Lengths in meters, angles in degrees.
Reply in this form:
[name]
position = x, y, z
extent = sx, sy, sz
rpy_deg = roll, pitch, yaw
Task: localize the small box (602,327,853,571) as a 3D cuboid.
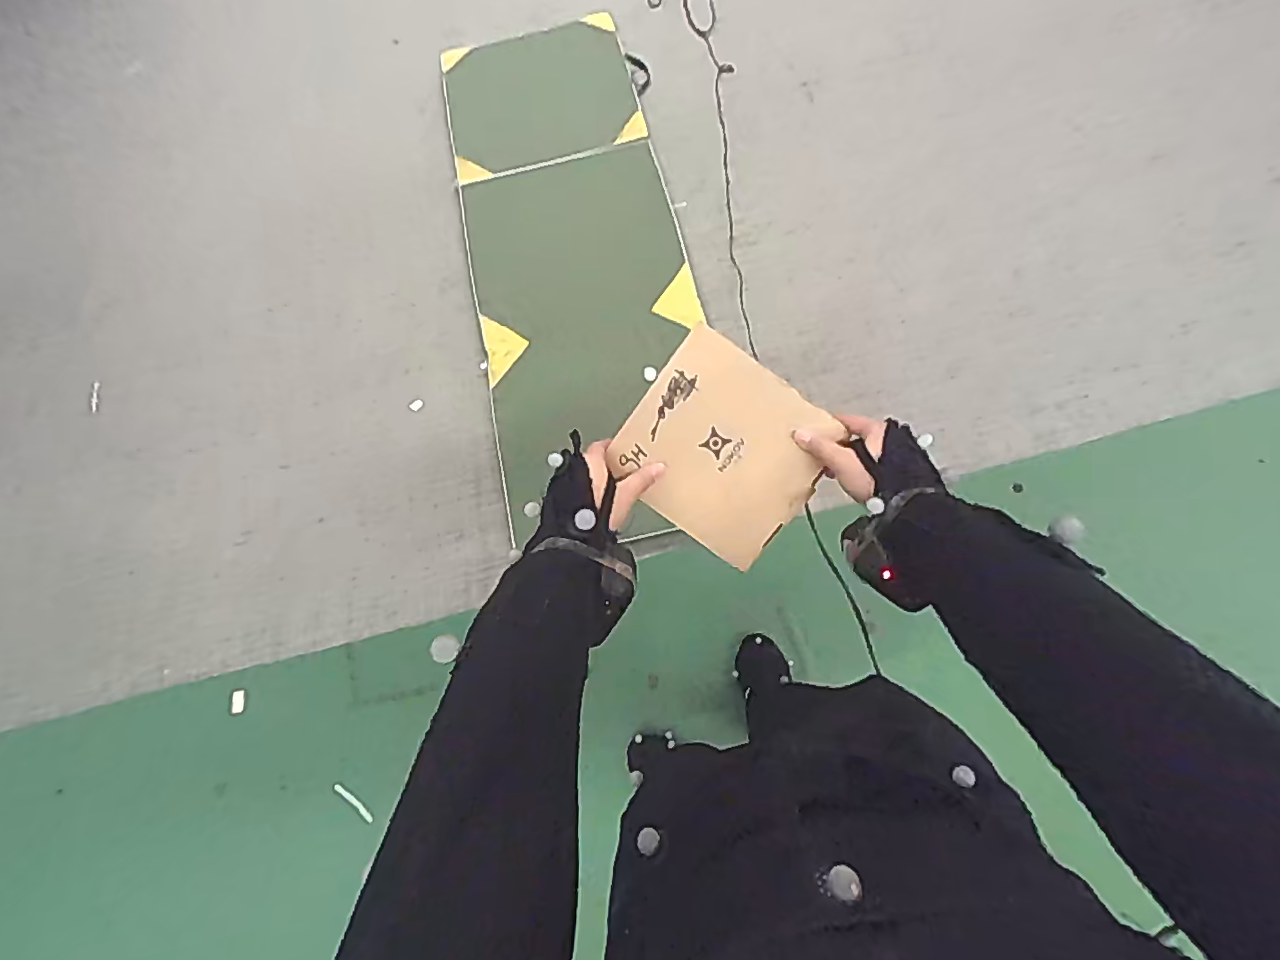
[small box]
position = 0.083, -0.036, 0.578
extent = 0.179, 0.176, 0.168
rpy_deg = 37, 96, -1
